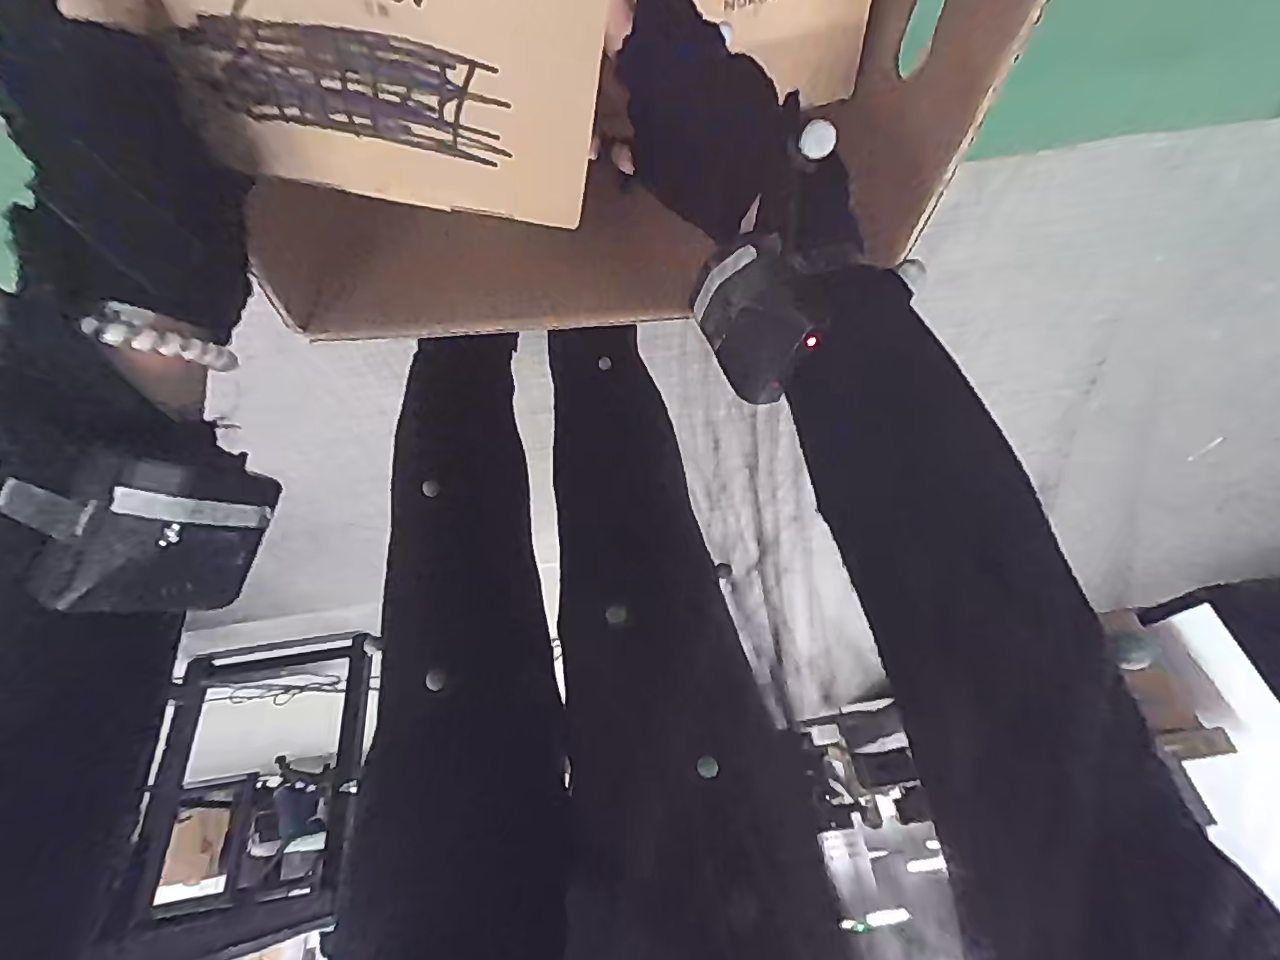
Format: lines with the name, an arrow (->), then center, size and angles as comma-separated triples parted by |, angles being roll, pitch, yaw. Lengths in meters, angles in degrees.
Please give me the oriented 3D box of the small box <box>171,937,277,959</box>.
small box -> -0.990, 1.186, 1.253 | 0.179, 0.176, 0.168 | -5, 148, -3
